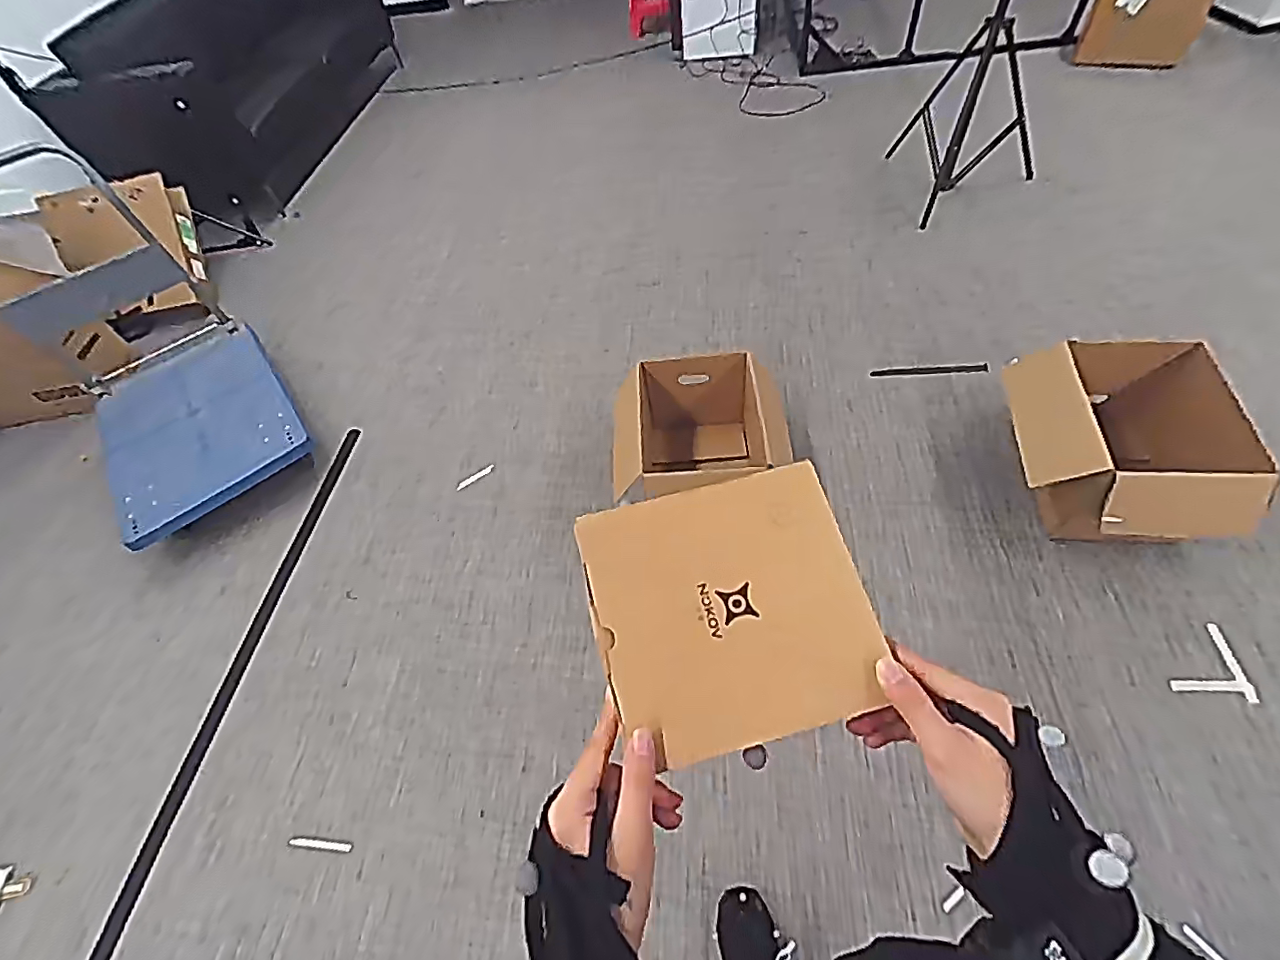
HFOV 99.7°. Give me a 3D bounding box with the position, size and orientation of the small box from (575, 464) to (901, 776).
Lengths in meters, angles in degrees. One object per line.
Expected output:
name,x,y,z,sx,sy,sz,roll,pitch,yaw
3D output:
small box,0.059,0.109,0.424,0.179,0.176,0.168,-15,69,-3
